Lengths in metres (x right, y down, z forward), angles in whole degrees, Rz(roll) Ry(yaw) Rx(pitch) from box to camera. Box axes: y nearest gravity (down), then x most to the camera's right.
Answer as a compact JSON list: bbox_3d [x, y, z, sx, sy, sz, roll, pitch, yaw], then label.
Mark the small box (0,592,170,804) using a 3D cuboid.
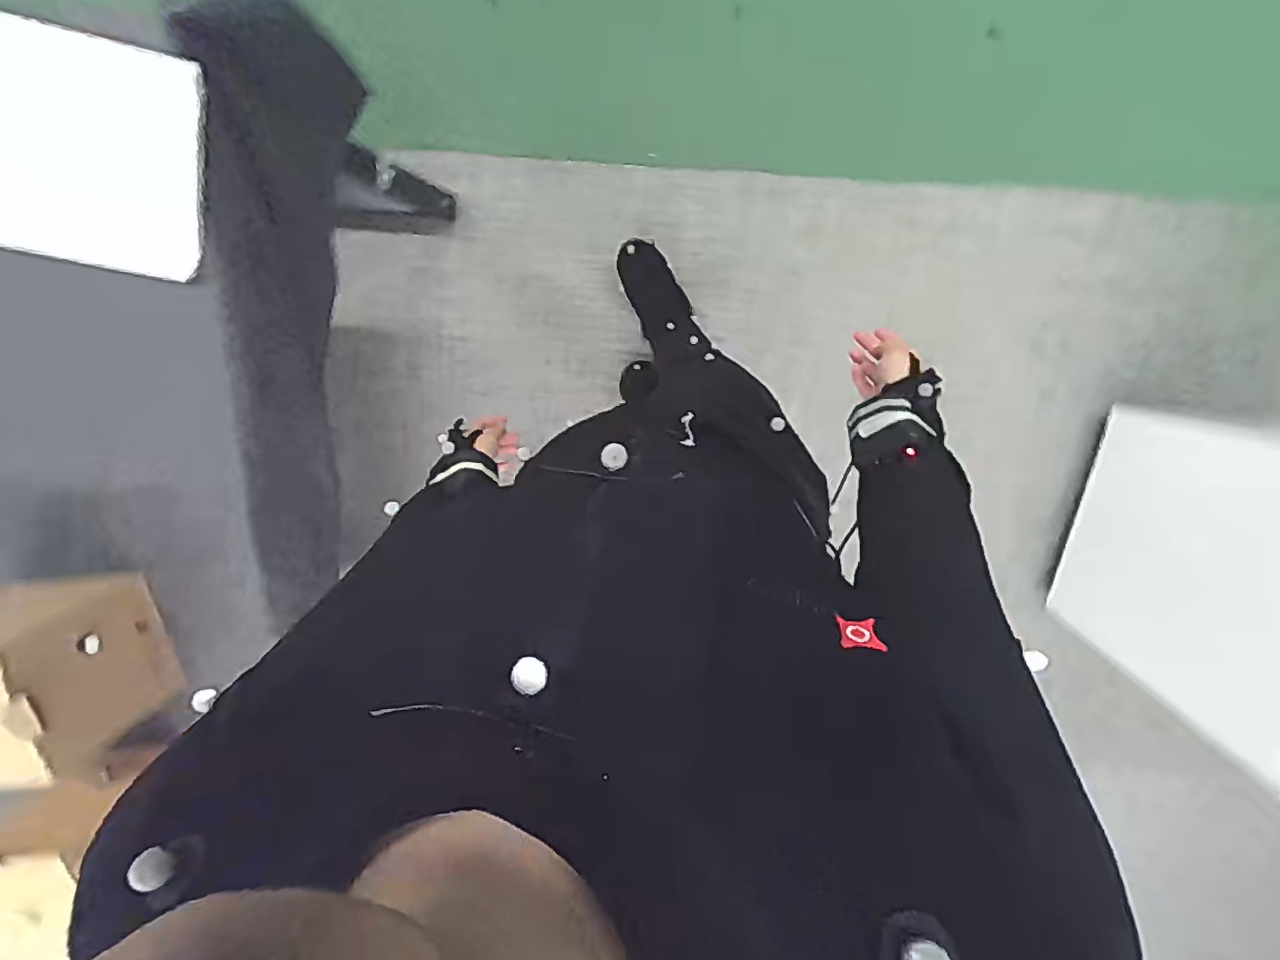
[{"bbox_3d":[-0.702,0.241,0.627,0.179,0.176,0.168,-6,104,6],"label":"small box"}]
